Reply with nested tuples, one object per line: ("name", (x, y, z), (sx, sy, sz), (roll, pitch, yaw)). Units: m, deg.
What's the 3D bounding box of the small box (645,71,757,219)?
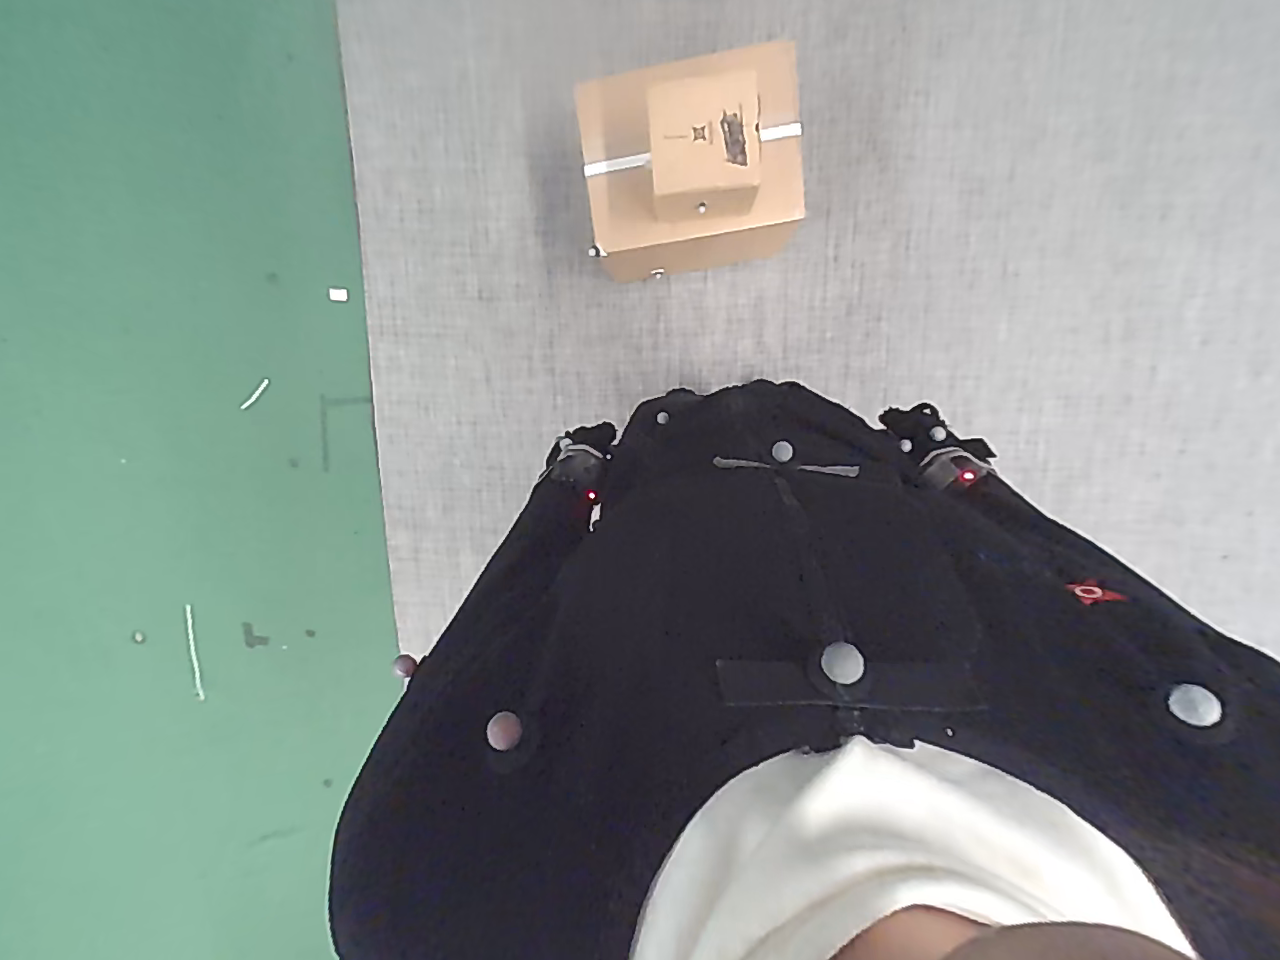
("small box", (0.104, -0.571, 0.943), (0.179, 0.176, 0.168), (-3, 100, 7))
